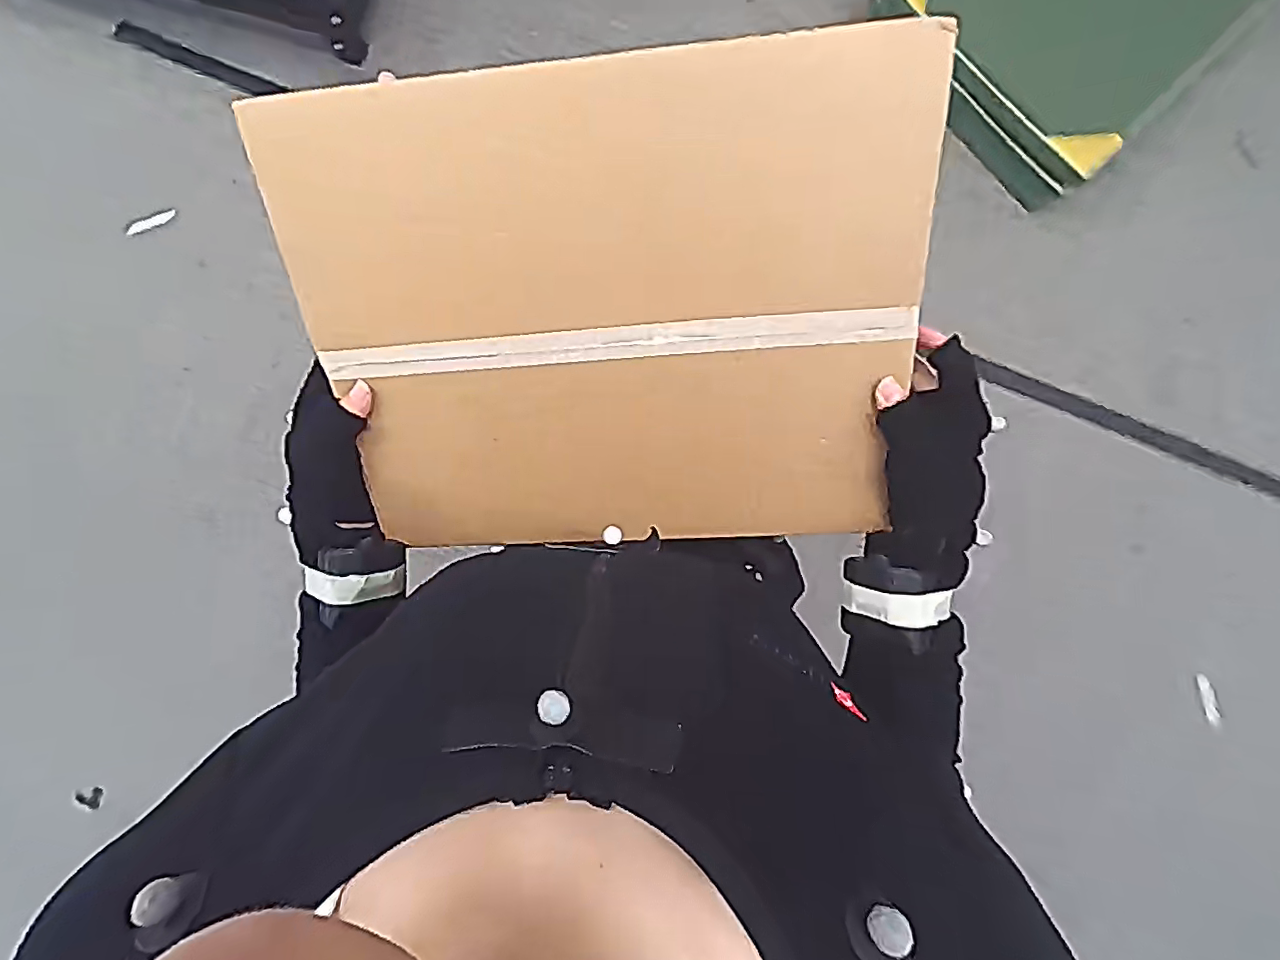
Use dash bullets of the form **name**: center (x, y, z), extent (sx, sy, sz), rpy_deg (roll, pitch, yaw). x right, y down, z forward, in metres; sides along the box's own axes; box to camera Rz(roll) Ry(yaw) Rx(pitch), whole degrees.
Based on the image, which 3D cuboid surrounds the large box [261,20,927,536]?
- **large box**: center (-0.018, -0.166, 0.510), extent (0.408, 0.320, 0.320), rpy_deg (-3, 117, 6)
